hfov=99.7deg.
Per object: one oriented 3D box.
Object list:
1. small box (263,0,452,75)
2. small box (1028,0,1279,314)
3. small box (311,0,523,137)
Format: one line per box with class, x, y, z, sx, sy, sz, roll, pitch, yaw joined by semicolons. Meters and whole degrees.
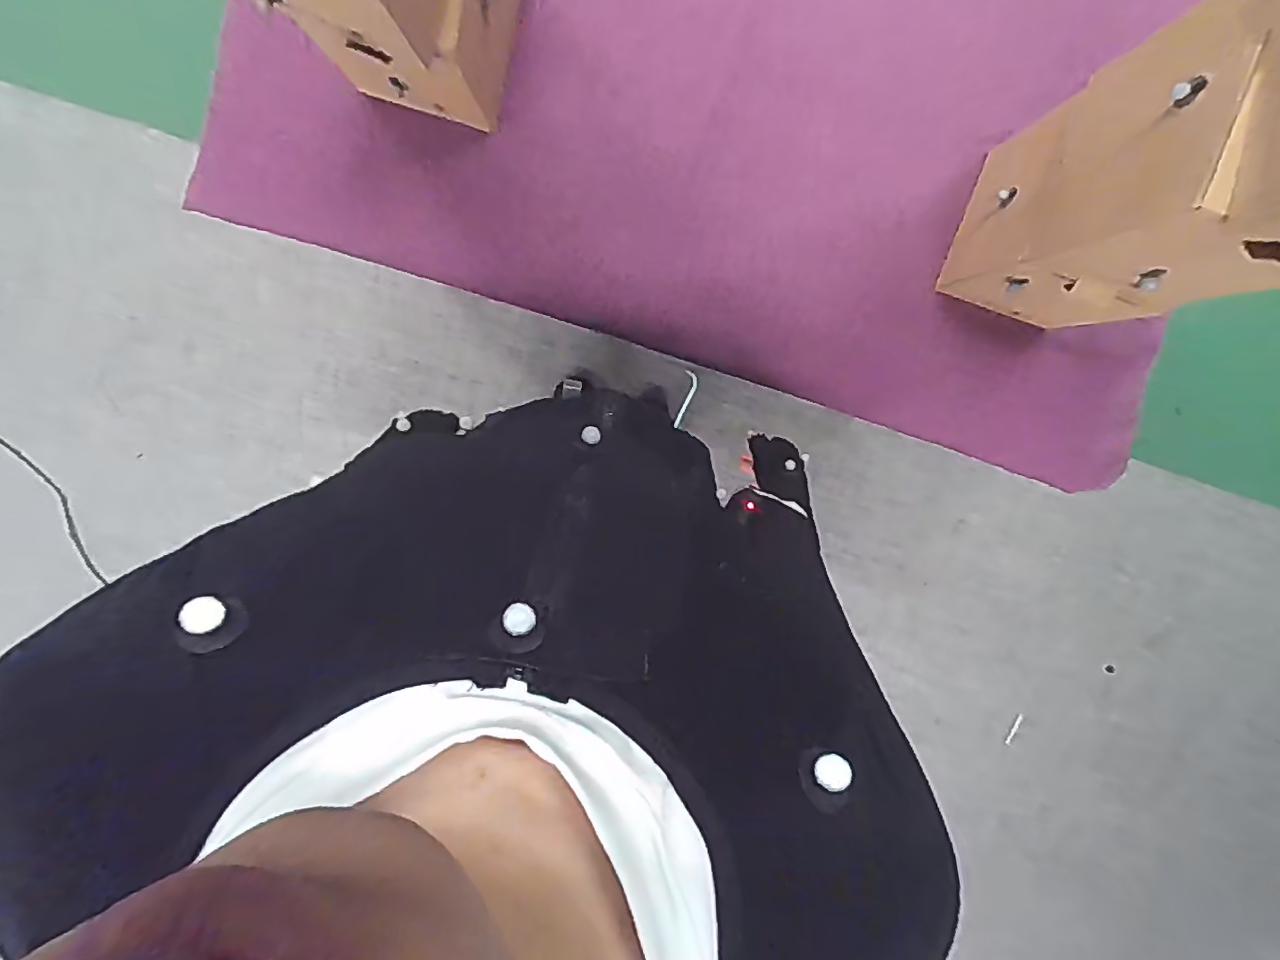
small box;-0.235;-0.457;0.404;0.168;0.176;0.179;20;100;-6
small box;0.485;-0.257;0.462;0.168;0.176;0.179;14;100;-4
small box;-0.227;-0.503;0.562;0.168;0.176;0.179;15;101;-5
